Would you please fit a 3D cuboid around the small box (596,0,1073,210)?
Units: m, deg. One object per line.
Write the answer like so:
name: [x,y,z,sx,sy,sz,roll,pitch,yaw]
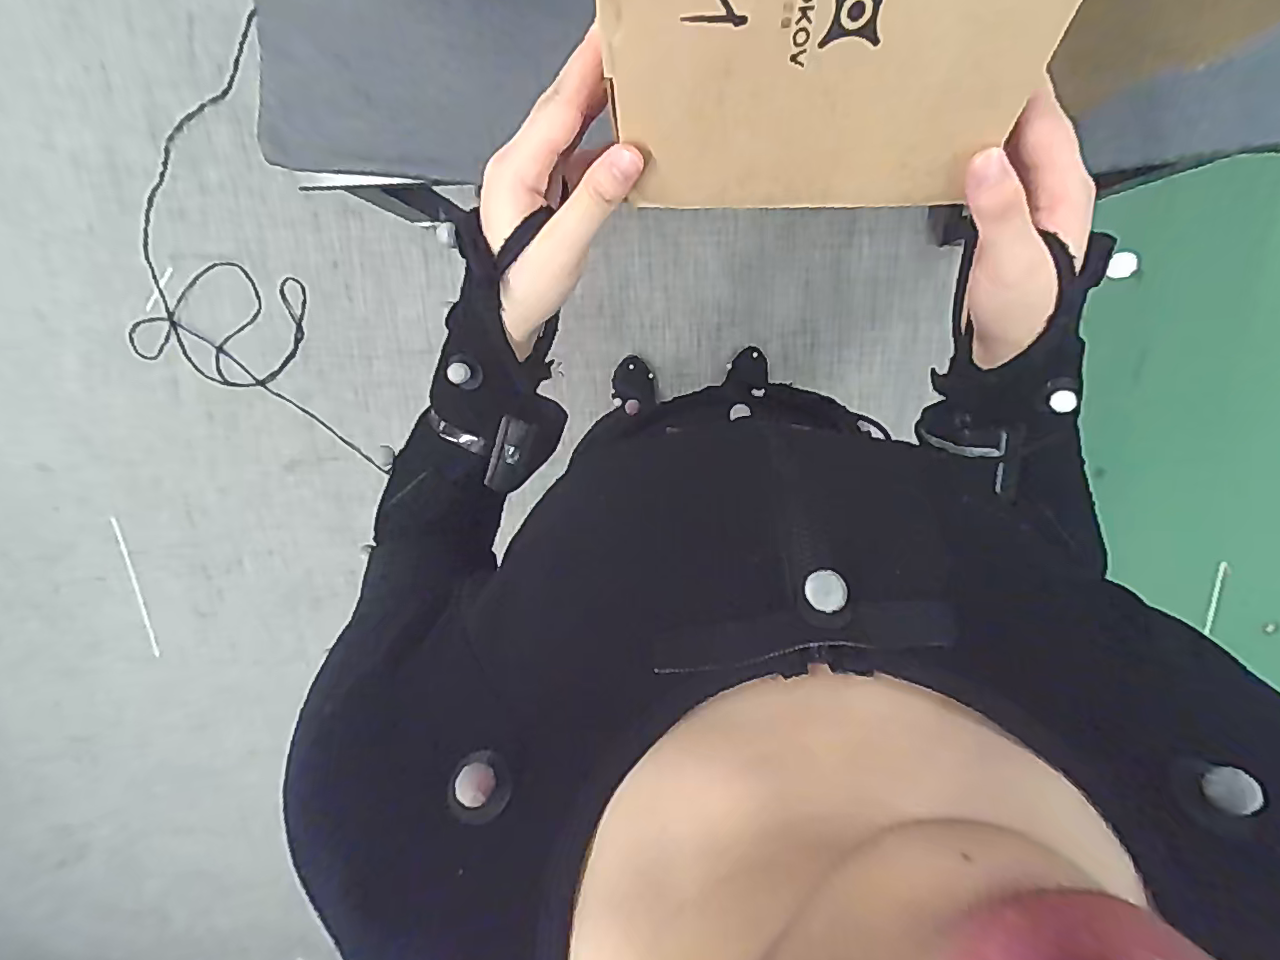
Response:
small box: [0.076,-0.247,0.235,0.179,0.168,0.176,3,64,6]
